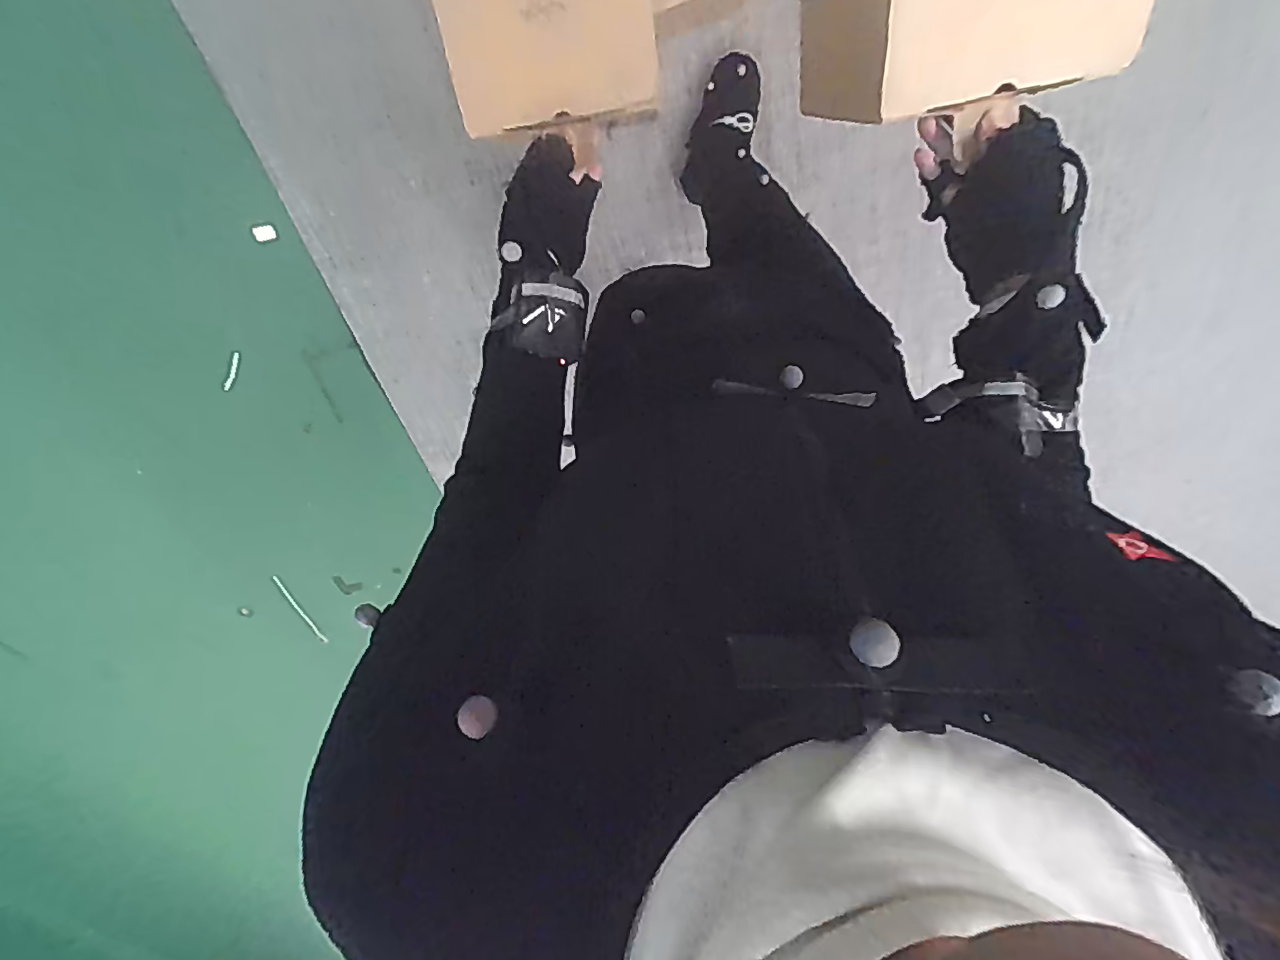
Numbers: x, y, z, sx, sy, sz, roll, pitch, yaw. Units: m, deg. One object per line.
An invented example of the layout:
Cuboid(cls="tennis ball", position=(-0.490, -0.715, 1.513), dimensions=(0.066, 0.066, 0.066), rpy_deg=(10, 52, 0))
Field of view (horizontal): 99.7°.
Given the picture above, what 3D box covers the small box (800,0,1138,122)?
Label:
Cuboid(cls="small box", position=(0.217, -0.374, 0.376), dimensions=(0.168, 0.176, 0.179), rpy_deg=(-11, 127, 3))
